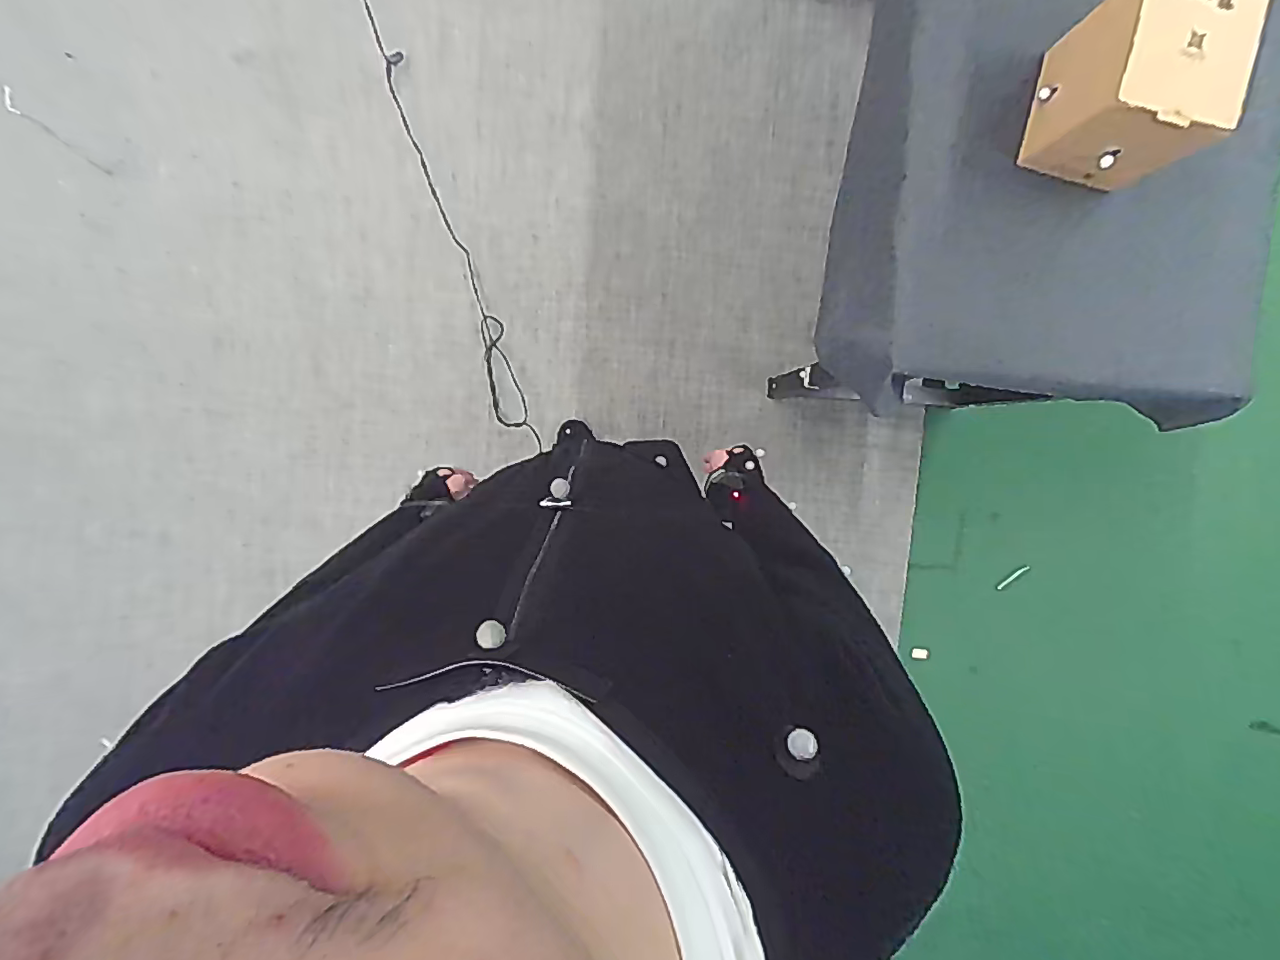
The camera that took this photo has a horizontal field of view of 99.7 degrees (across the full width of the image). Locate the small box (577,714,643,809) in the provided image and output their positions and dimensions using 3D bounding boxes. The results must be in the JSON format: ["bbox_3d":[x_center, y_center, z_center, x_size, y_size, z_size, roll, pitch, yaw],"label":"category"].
[{"bbox_3d":[-0.087,0.801,1.547,0.168,0.176,0.179,6,95,-6],"label":"small box"}]

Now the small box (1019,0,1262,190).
[{"bbox_3d":[0.684,-0.544,0.764,0.168,0.176,0.179,12,95,-5],"label":"small box"}]
